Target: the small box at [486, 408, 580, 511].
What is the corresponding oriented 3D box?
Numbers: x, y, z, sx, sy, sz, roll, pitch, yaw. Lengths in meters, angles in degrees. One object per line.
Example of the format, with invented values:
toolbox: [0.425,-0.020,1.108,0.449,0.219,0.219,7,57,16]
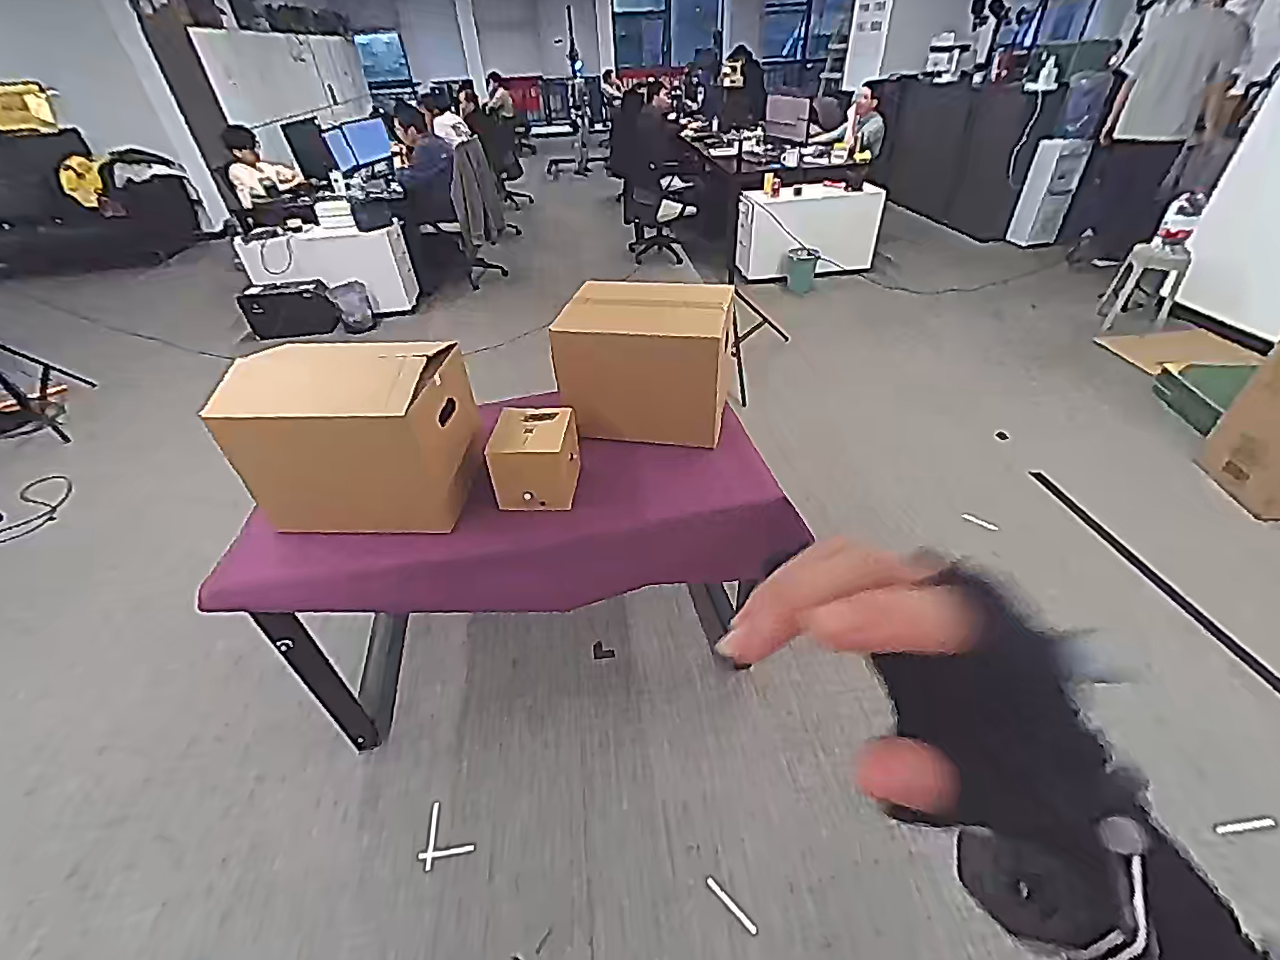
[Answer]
small box: [-0.235,-0.050,1.241,0.168,0.176,0.179,0,39,4]
